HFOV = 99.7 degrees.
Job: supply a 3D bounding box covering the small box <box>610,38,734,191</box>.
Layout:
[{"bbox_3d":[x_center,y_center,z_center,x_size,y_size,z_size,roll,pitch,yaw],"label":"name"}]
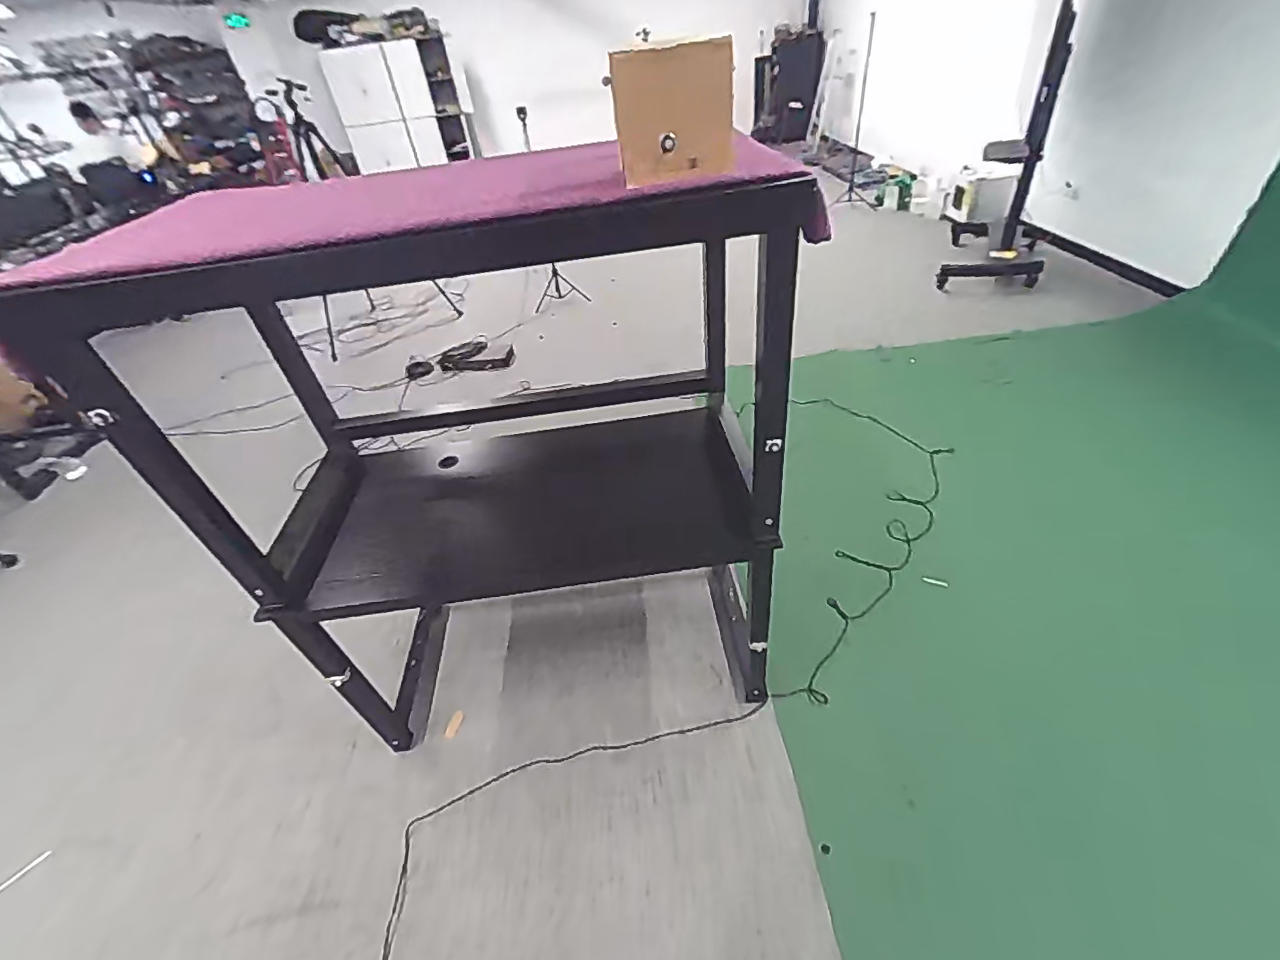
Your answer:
[{"bbox_3d":[0.046,-0.556,0.827,0.168,0.176,0.179,-8,40,1],"label":"small box"}]
